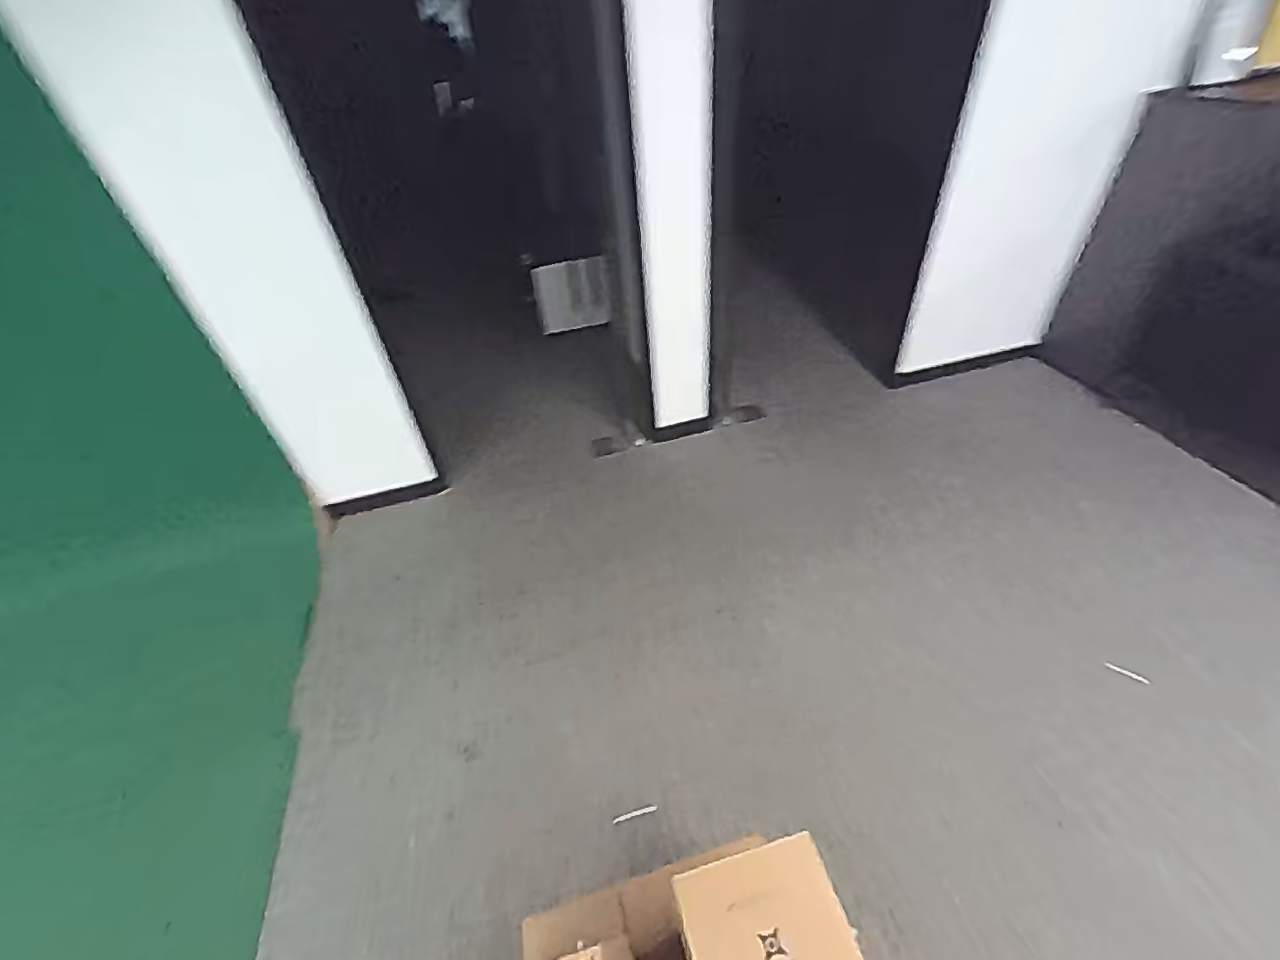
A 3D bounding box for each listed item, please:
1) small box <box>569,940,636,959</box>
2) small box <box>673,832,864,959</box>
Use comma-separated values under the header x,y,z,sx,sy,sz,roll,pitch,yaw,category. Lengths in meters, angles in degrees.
x,y,z,sx,sy,sz,roll,pitch,yaw,category
-0.063,0.712,0.667,0.168,0.176,0.179,-13,43,-9,small box
0.144,0.532,0.597,0.168,0.176,0.179,-14,42,-8,small box
